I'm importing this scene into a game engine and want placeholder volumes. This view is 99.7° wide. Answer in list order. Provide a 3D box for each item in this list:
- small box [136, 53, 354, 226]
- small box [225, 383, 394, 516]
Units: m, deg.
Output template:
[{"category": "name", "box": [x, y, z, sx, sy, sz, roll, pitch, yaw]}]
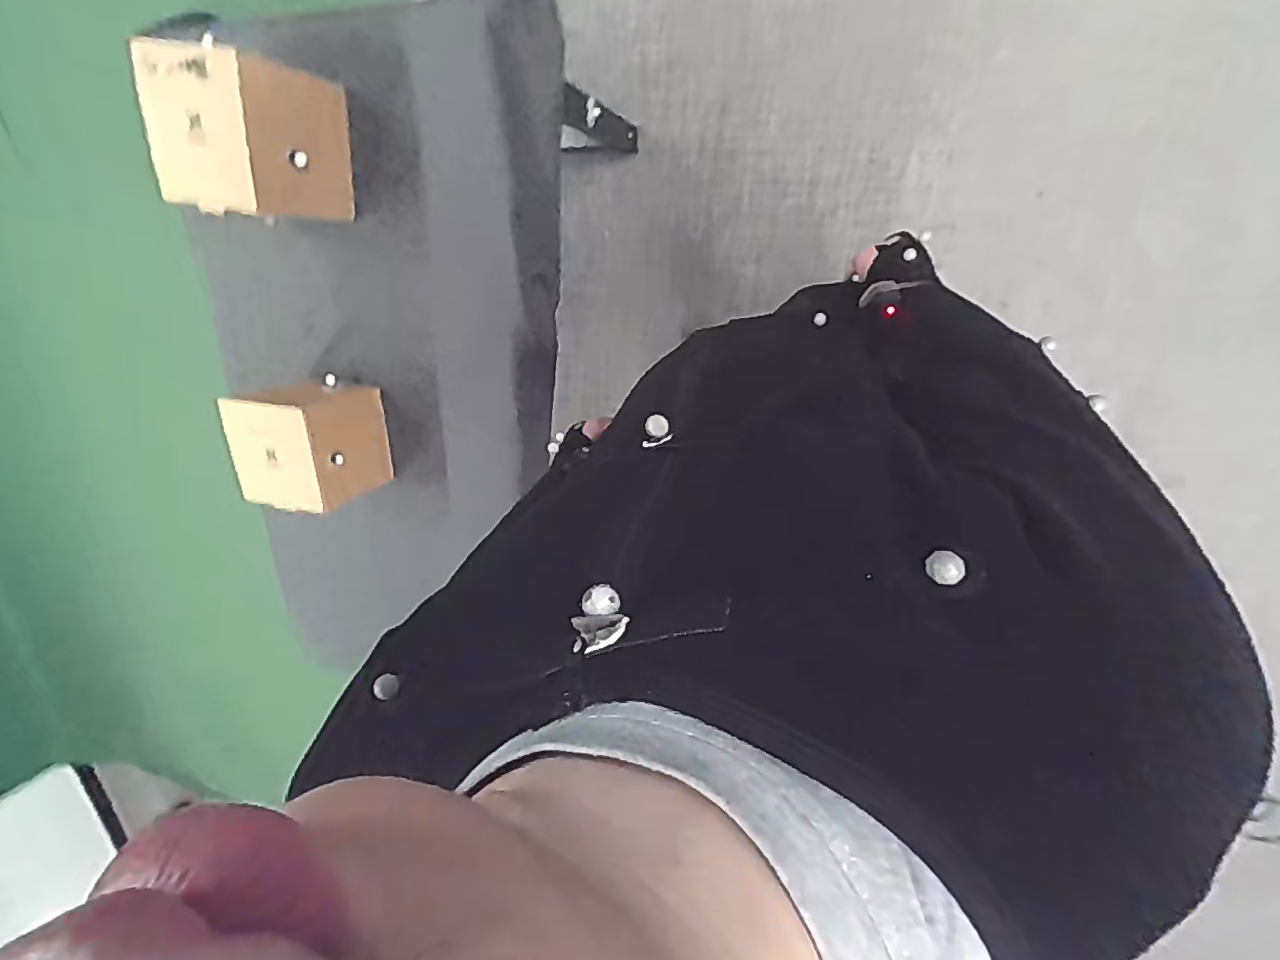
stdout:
[{"category": "small box", "box": [-0.527, -0.458, 0.751, 0.168, 0.176, 0.179, 14, 116, 12]}, {"category": "small box", "box": [-0.550, -0.060, 0.928, 0.168, 0.176, 0.179, 7, 112, 14]}]
